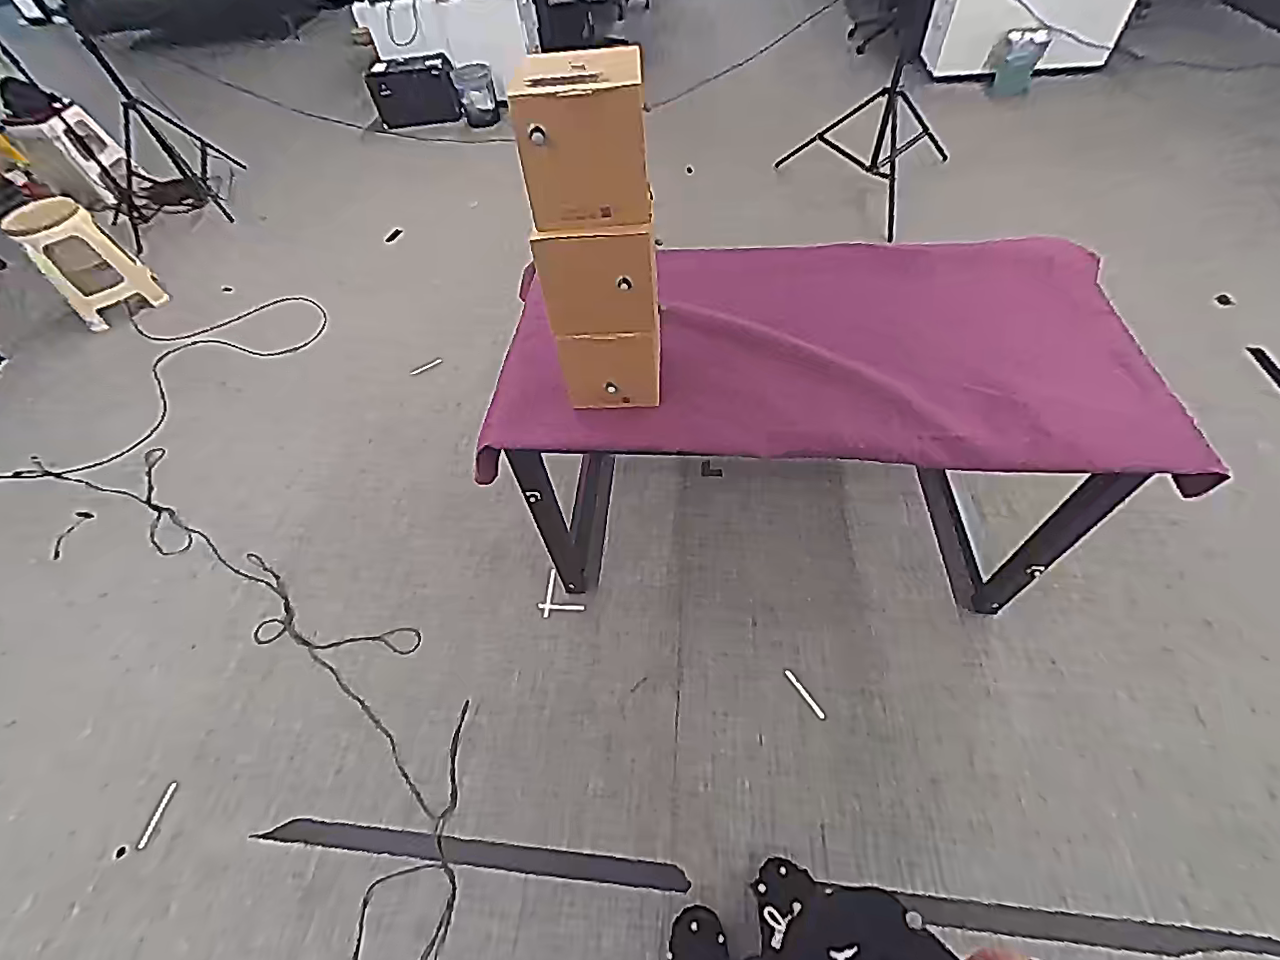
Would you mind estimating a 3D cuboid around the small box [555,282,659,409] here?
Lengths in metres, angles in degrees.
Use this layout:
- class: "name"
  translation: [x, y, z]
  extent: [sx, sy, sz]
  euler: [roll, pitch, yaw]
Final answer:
- class: "small box"
  translation: [-0.053, -0.252, 1.008]
  extent: [0.168, 0.176, 0.179]
  euler: [-1, 53, 5]

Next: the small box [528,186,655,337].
- class: "small box"
  translation: [-0.067, -0.350, 0.880]
  extent: [0.179, 0.176, 0.168]
  euler: [-2, 51, 5]
